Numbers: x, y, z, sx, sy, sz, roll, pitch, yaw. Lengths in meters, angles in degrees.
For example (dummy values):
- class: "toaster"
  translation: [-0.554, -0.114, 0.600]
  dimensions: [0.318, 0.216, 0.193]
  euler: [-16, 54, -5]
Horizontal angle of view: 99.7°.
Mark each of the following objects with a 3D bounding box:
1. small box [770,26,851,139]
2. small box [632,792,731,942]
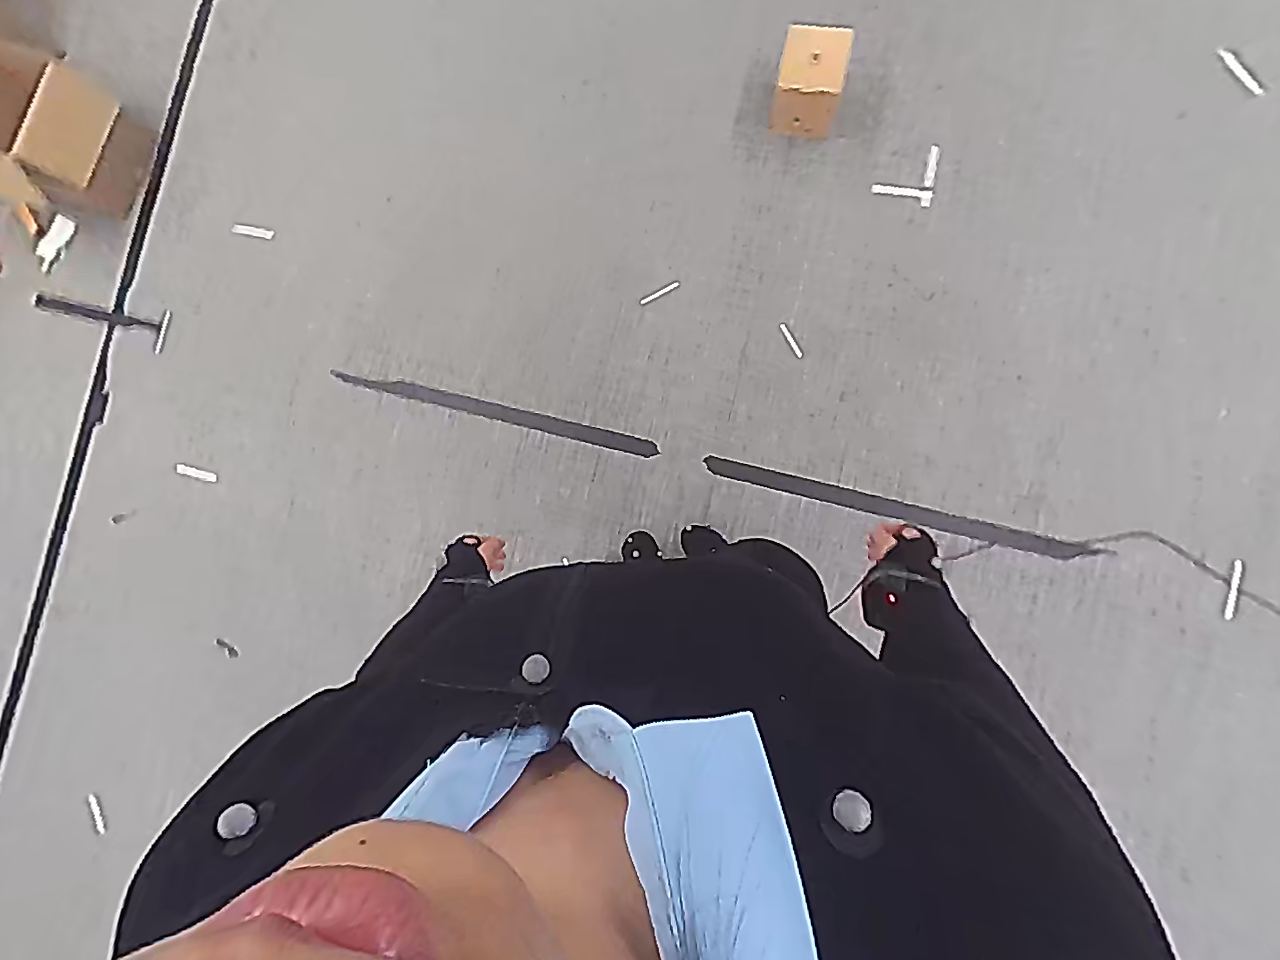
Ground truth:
- class: "small box"
  translation: [0.456, -1.075, 1.469]
  dimensions: [0.168, 0.176, 0.179]
  euler: [11, 87, 8]
- class: "small box"
  translation: [0.093, 0.820, 1.165]
  dimensions: [0.168, 0.176, 0.179]
  euler: [15, 87, 8]
